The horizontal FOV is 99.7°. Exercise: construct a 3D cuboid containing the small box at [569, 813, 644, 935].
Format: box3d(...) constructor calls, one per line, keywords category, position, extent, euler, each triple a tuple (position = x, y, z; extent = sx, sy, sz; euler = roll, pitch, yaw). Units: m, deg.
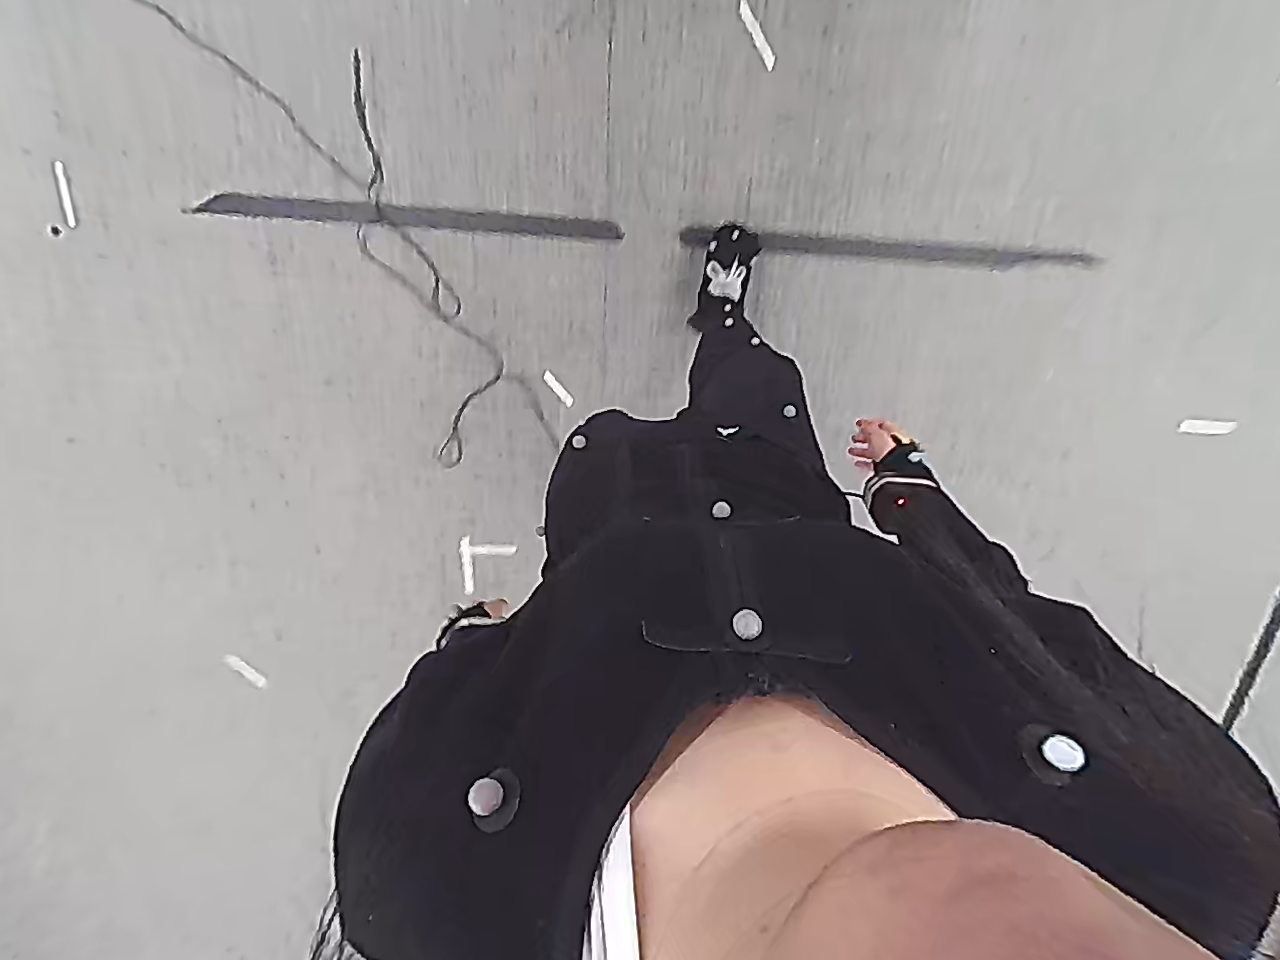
box3d(category="small box", position=(-0.076, 0.945, 1.305), extent=(0.168, 0.176, 0.179), euler=(-4, 107, -1))
